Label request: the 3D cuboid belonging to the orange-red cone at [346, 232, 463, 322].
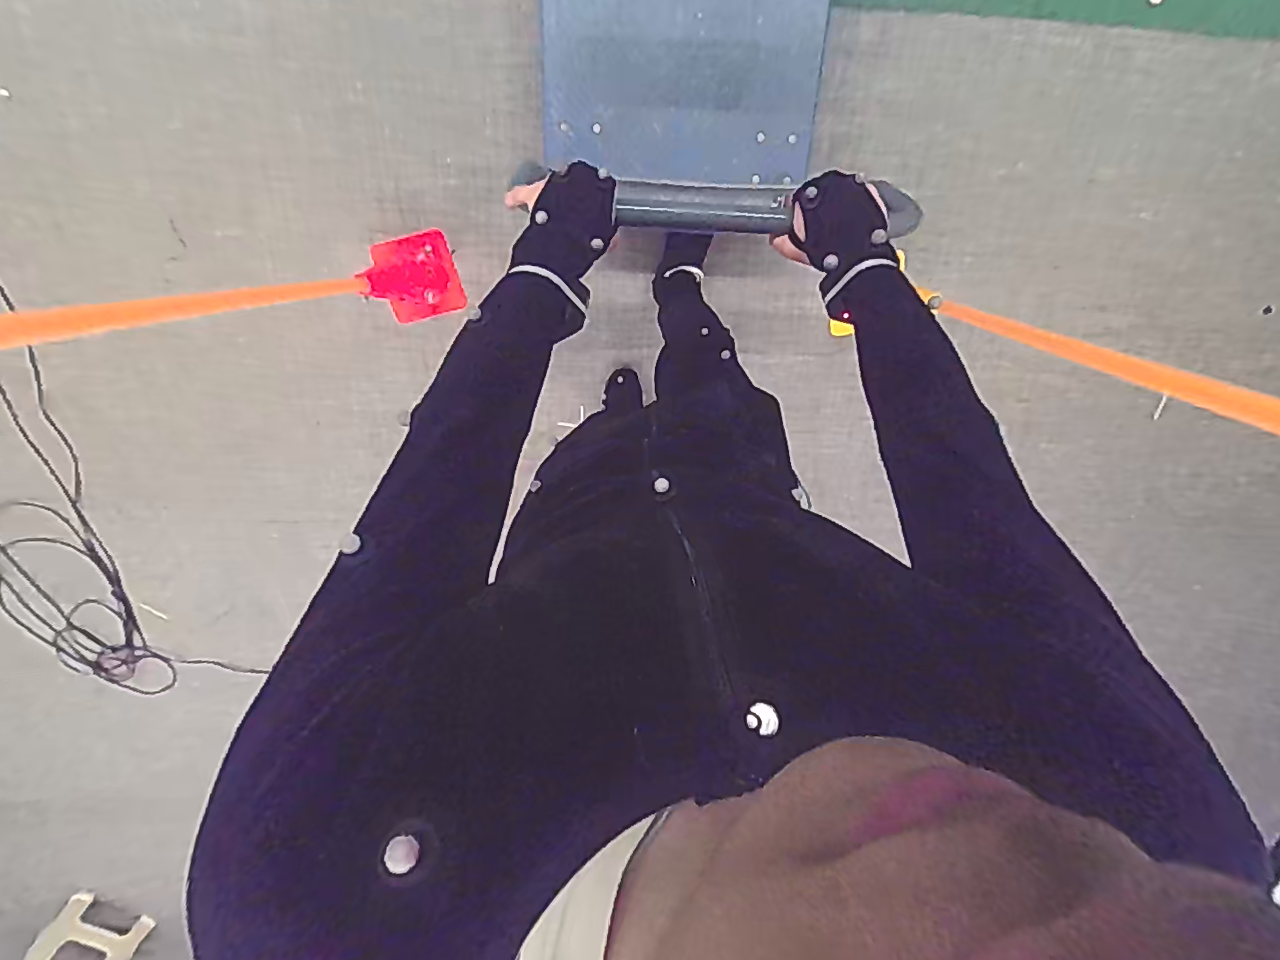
[{"bbox_3d":[-0.573,-0.458,1.242,0.199,0.360,0.198,-12,112,4],"label":"orange-red cone"}]
